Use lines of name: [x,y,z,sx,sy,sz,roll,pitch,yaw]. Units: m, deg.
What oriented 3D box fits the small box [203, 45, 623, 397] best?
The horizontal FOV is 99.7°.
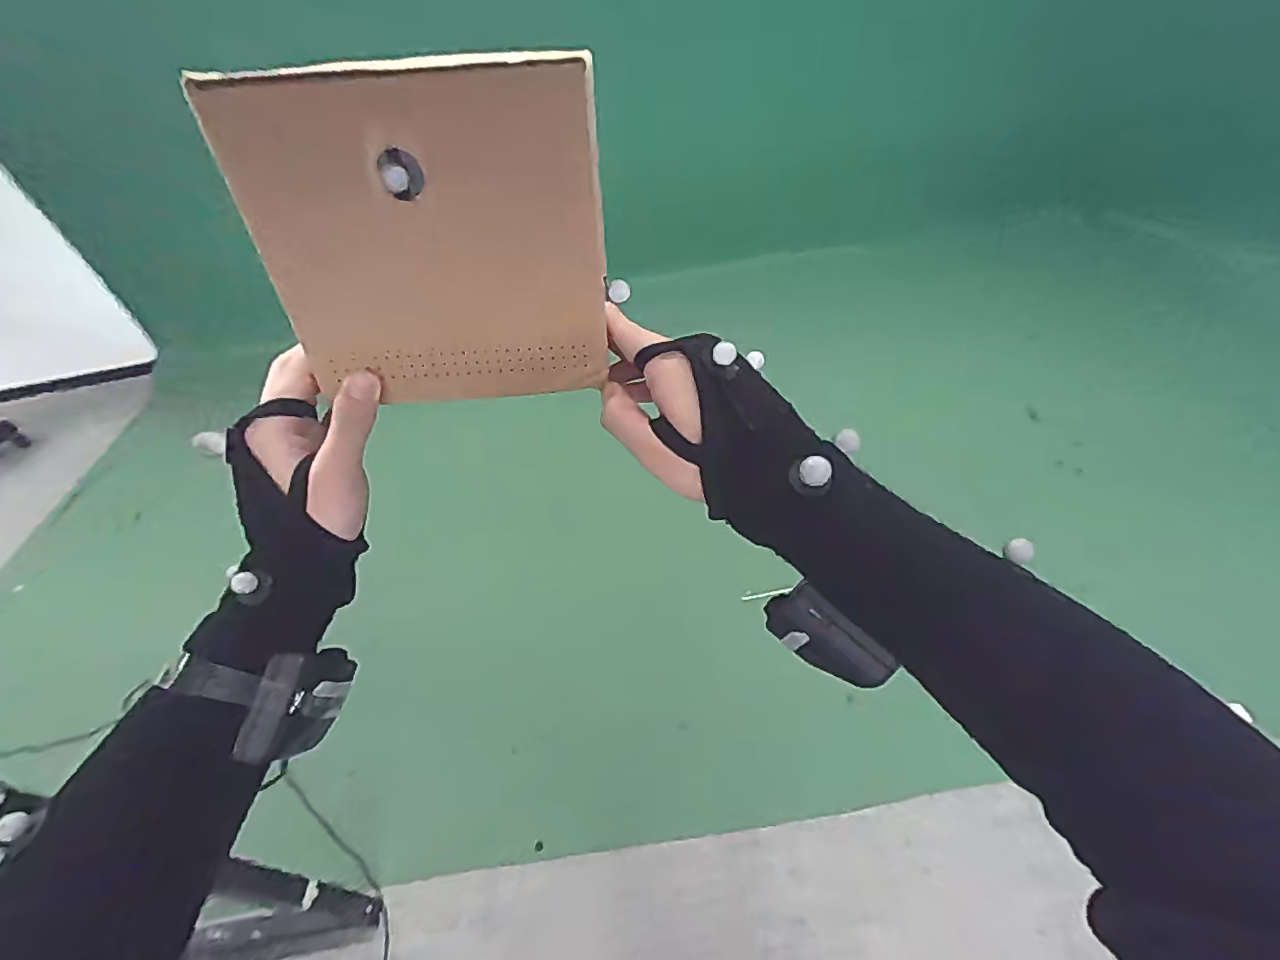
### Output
small box: [-0.103,-0.163,0.344,0.179,0.176,0.168,-3,39,-1]
